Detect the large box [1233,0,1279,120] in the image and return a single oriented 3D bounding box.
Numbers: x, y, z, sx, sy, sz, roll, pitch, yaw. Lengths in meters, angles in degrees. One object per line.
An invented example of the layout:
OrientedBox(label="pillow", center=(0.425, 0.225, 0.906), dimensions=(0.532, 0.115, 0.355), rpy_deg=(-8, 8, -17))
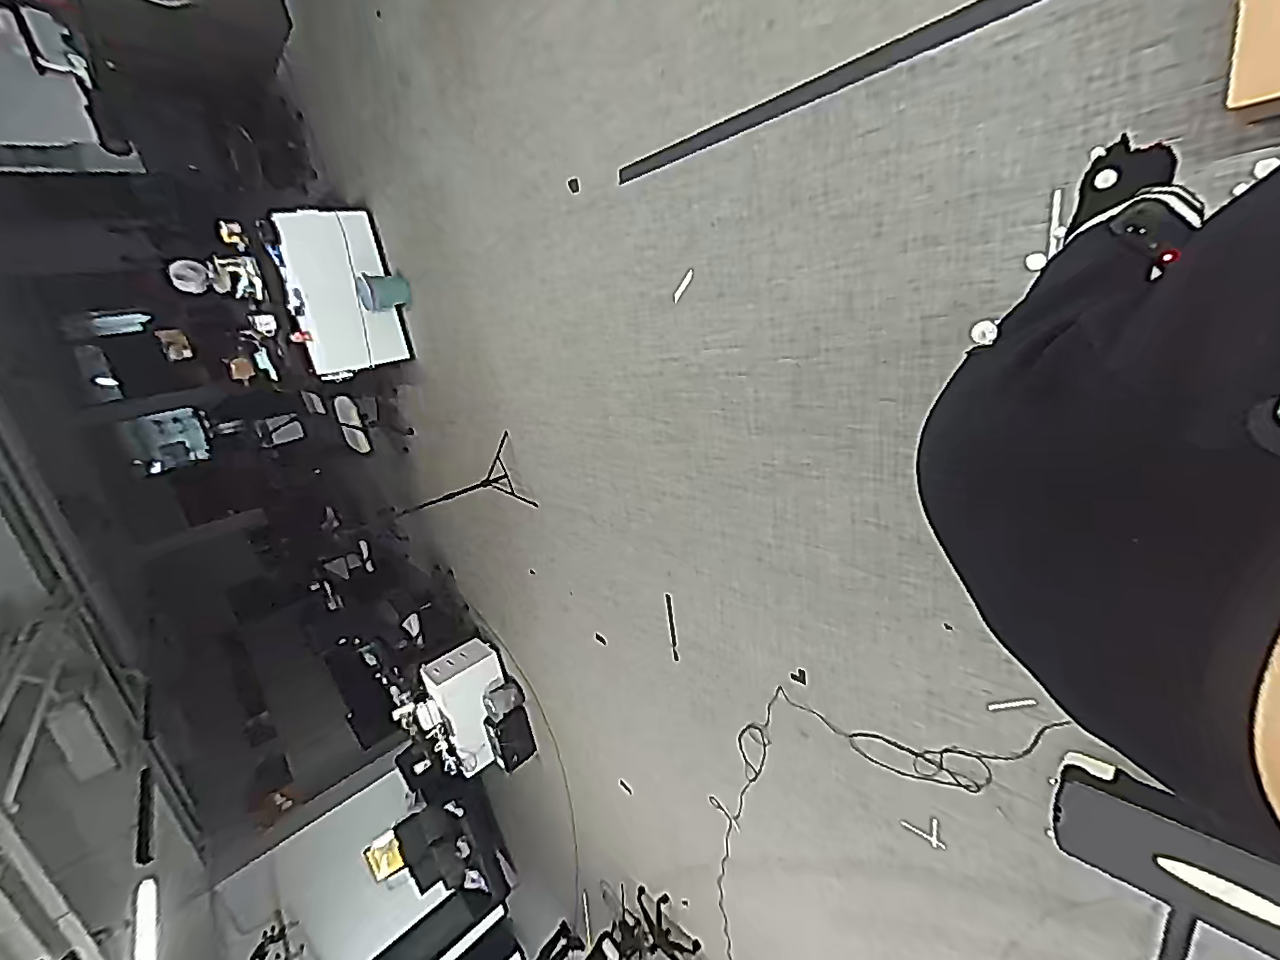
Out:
OrientedBox(label="large box", center=(1.023, -0.689, 0.646), dimensions=(0.408, 0.320, 0.320), rpy_deg=(9, 117, 47))
